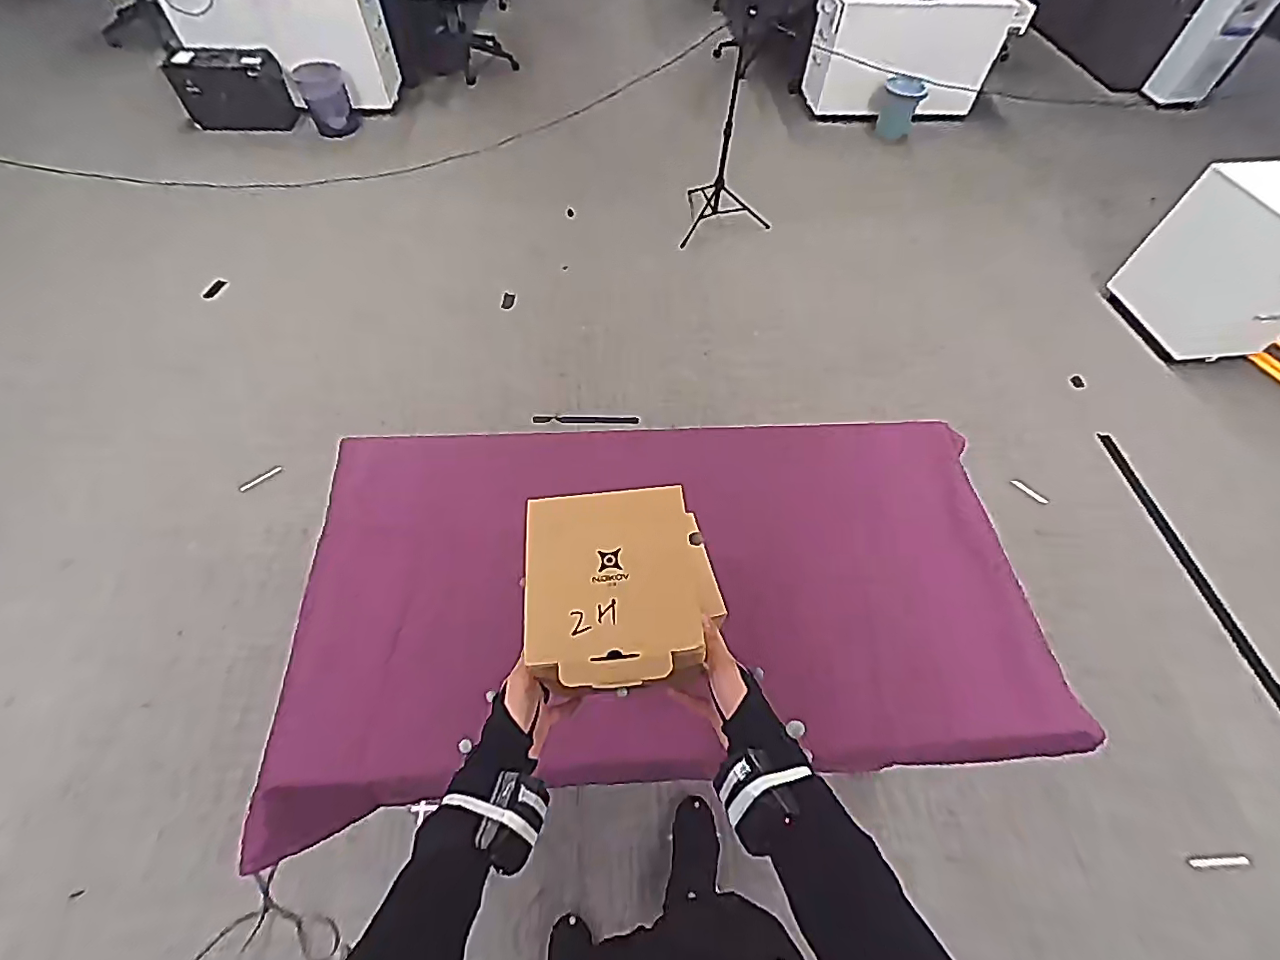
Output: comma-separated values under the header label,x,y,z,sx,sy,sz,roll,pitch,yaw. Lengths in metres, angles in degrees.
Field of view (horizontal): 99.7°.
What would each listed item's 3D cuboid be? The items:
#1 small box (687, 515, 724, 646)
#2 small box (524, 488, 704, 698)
label,x,y,z,sx,sy,sz,roll,pitch,yaw
small box,0.012,0.177,0.827,0.179,0.176,0.168,-10,58,-10
small box,-0.026,0.129,0.597,0.168,0.176,0.179,-5,59,0
